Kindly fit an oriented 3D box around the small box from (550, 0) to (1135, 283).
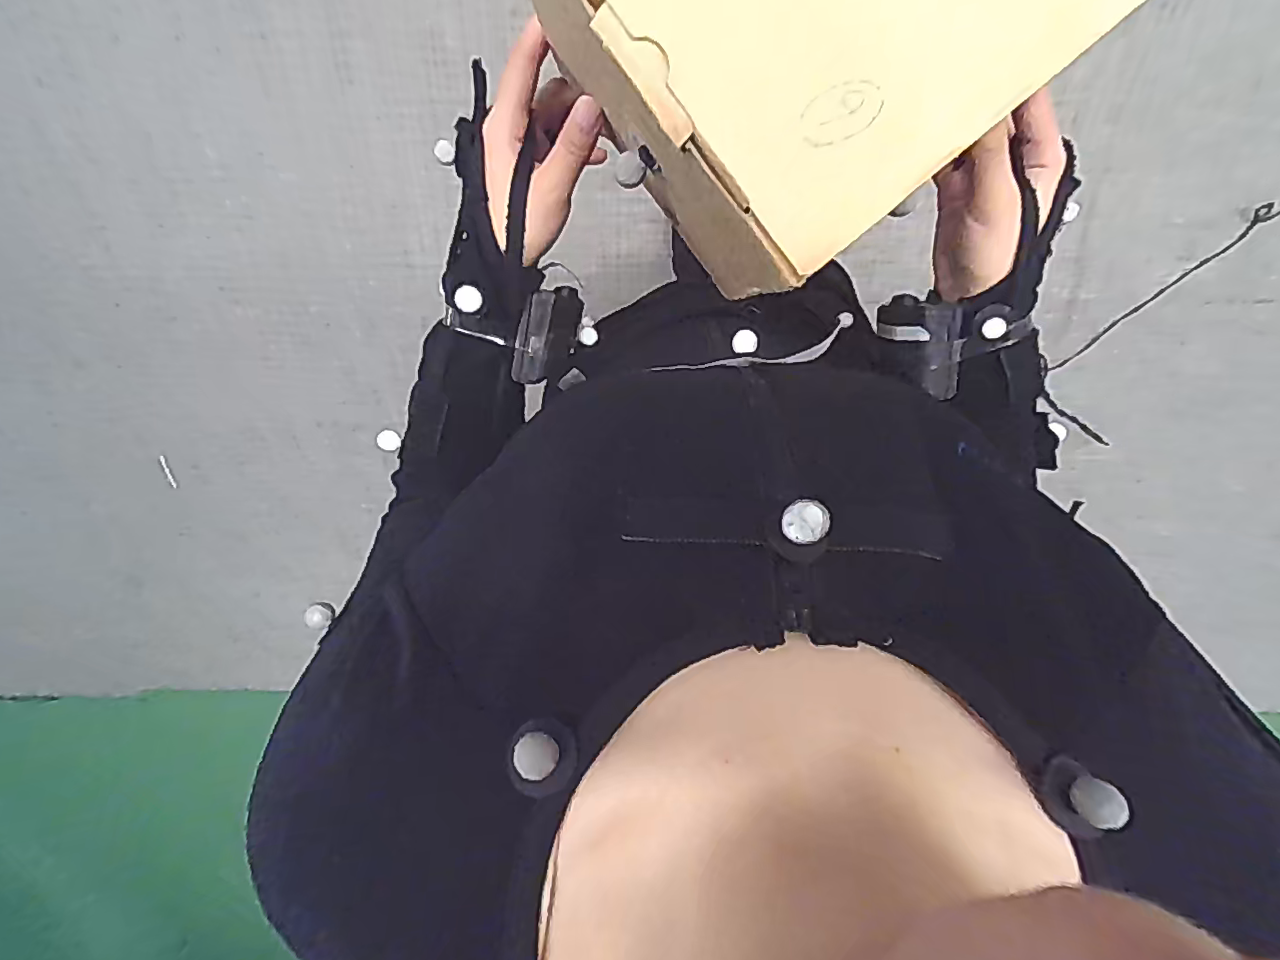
[{"bbox_3d":[0.070,-0.203,0.227,0.179,0.176,0.168,-37,102,12],"label":"small box"}]
